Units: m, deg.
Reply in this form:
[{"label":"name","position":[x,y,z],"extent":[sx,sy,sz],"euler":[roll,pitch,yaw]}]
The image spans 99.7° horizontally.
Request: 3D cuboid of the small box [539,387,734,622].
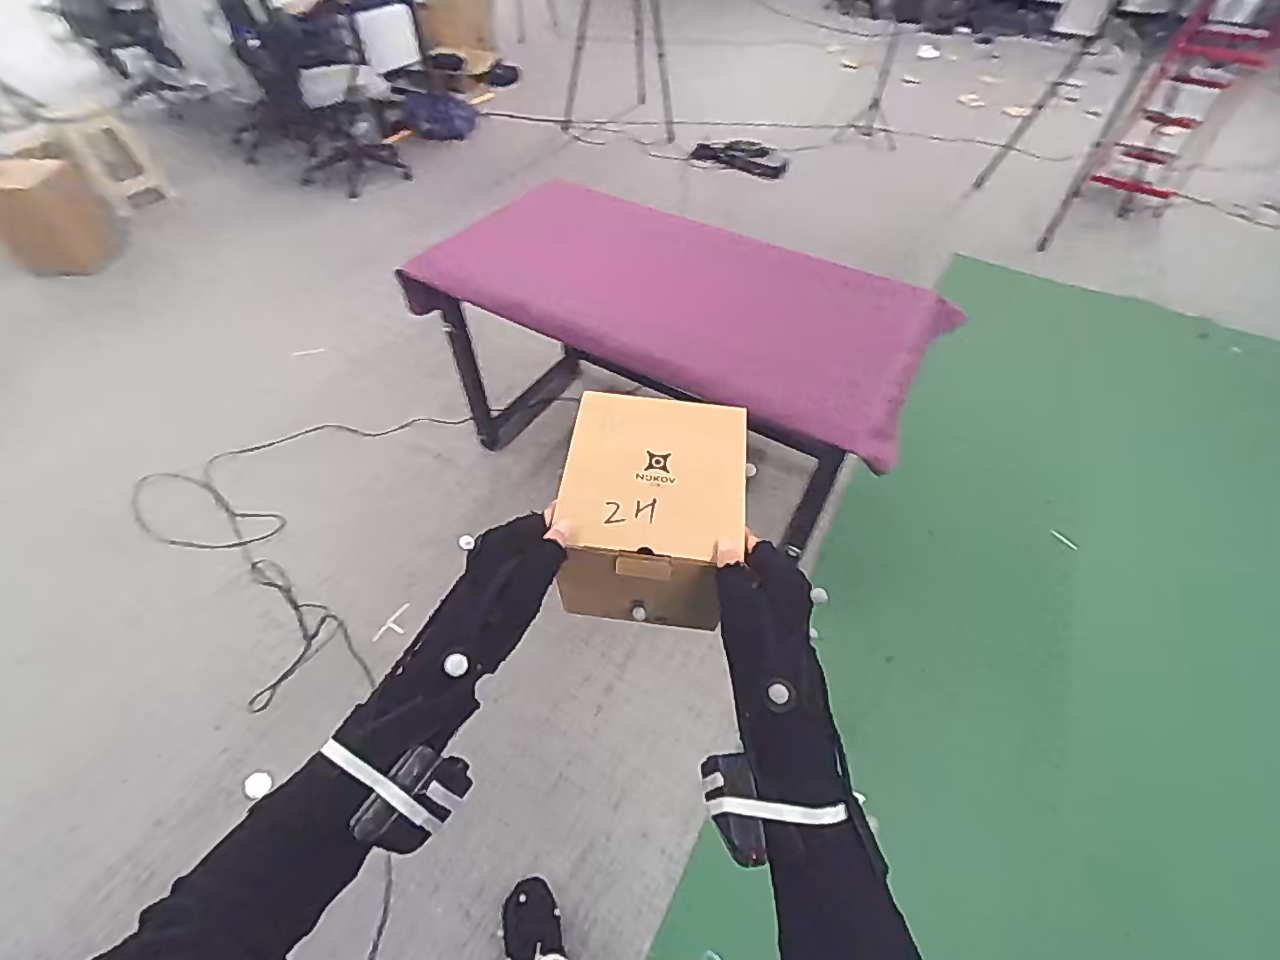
[{"label":"small box","position":[0.002,0.030,0.566],"extent":[0.168,0.176,0.179],"euler":[6,57,3]}]
